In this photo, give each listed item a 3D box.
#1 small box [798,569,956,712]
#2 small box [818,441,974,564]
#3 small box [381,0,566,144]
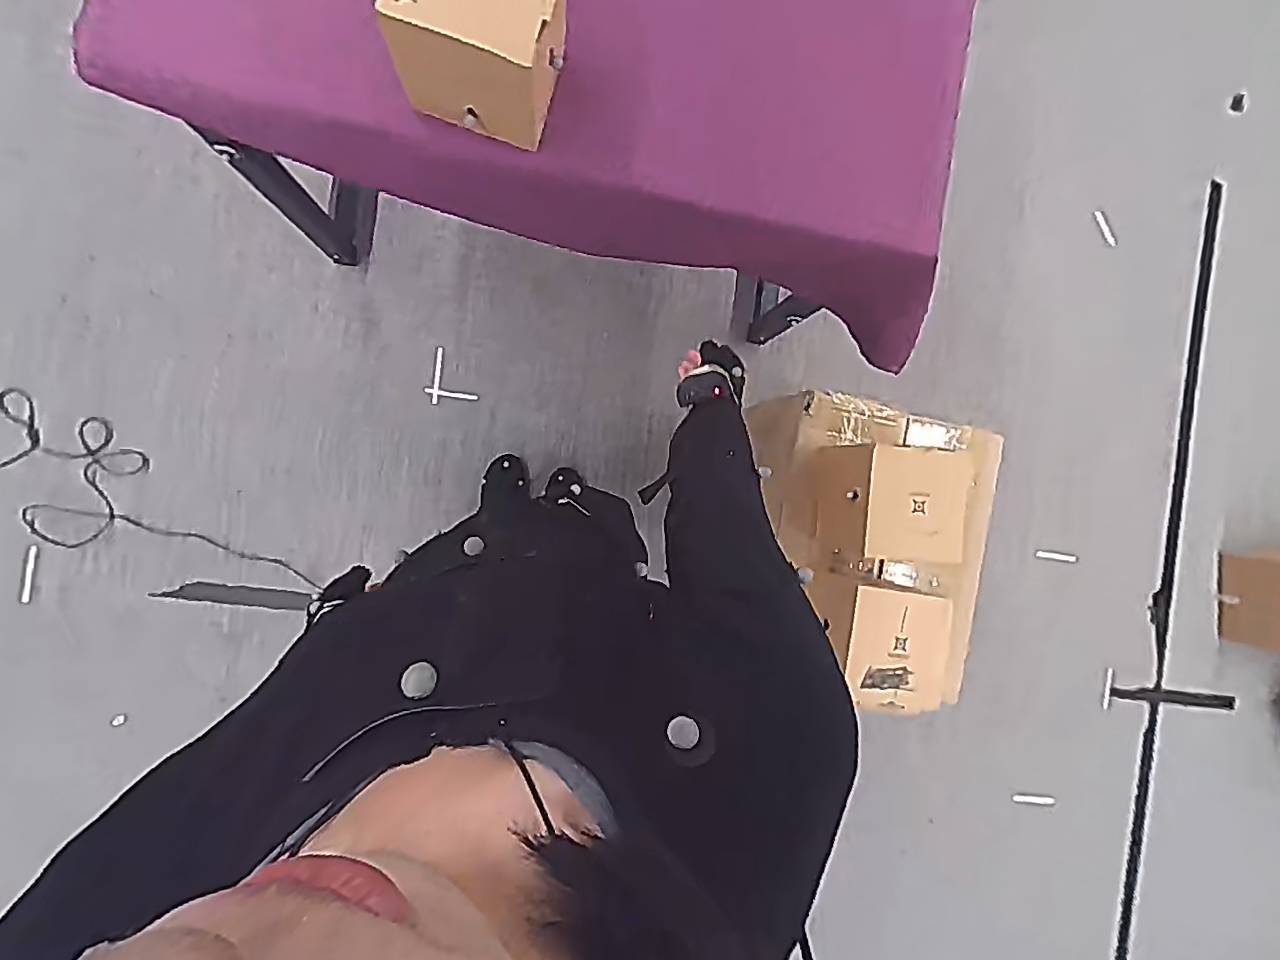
[{"bbox_3d":[0.377,0.255,0.889,0.168,0.176,0.179,10,87,-8],"label":"small box"},{"bbox_3d":[0.412,0.033,0.894,0.168,0.176,0.179,5,91,-7],"label":"small box"},{"bbox_3d":[-0.194,-0.568,0.684,0.179,0.176,0.168,15,88,-10],"label":"small box"}]
